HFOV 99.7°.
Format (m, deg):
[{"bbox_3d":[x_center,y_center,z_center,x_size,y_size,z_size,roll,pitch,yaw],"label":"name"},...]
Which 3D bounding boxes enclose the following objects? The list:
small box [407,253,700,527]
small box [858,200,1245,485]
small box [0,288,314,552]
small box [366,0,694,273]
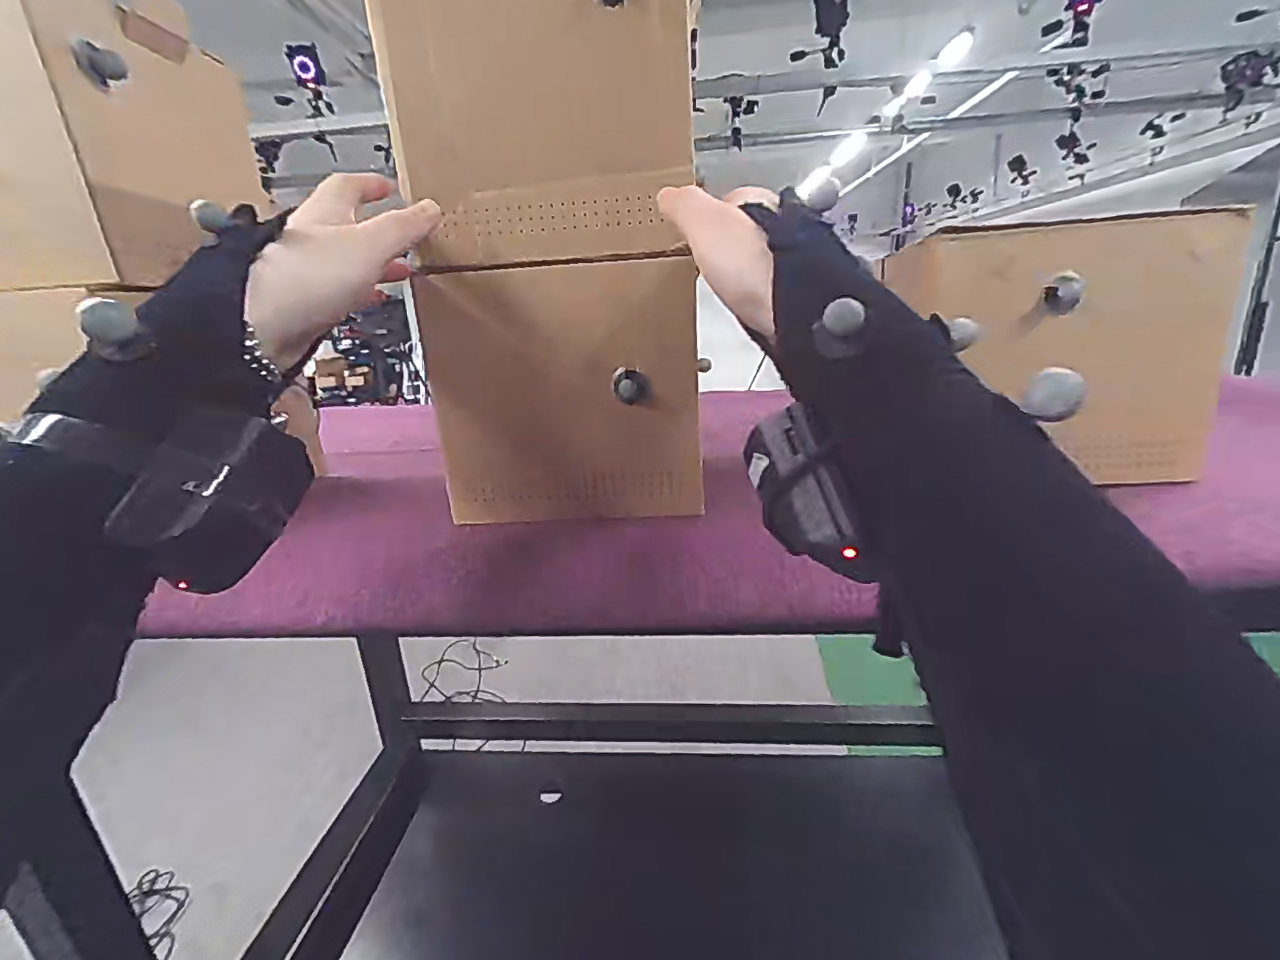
[{"bbox_3d":[-0.045,-0.072,0.417,0.179,0.176,0.168,-4,17,3],"label":"small box"},{"bbox_3d":[0.277,-0.095,0.414,0.179,0.176,0.168,-2,16,7],"label":"small box"},{"bbox_3d":[-0.388,-0.052,0.415,0.168,0.176,0.179,-2,18,3],"label":"small box"},{"bbox_3d":[-0.058,-0.228,0.372,0.179,0.176,0.168,-3,17,2],"label":"small box"}]
